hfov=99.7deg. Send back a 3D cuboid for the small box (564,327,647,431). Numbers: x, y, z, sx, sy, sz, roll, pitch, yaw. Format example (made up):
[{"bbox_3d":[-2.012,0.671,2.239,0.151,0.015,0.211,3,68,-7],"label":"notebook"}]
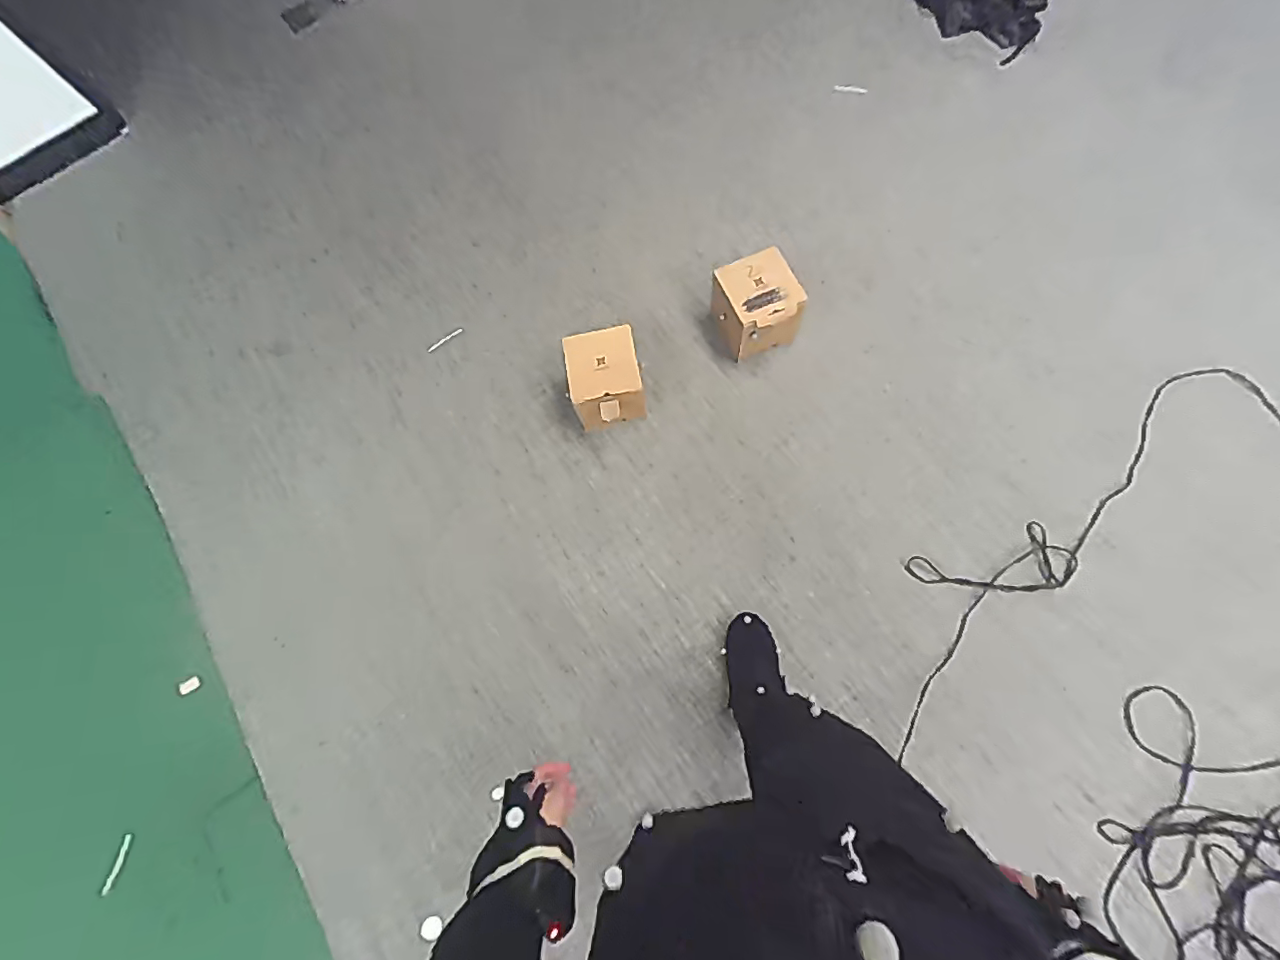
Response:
[{"bbox_3d":[-0.080,-0.239,1.312,0.168,0.176,0.179,-11,73,1],"label":"small box"}]
